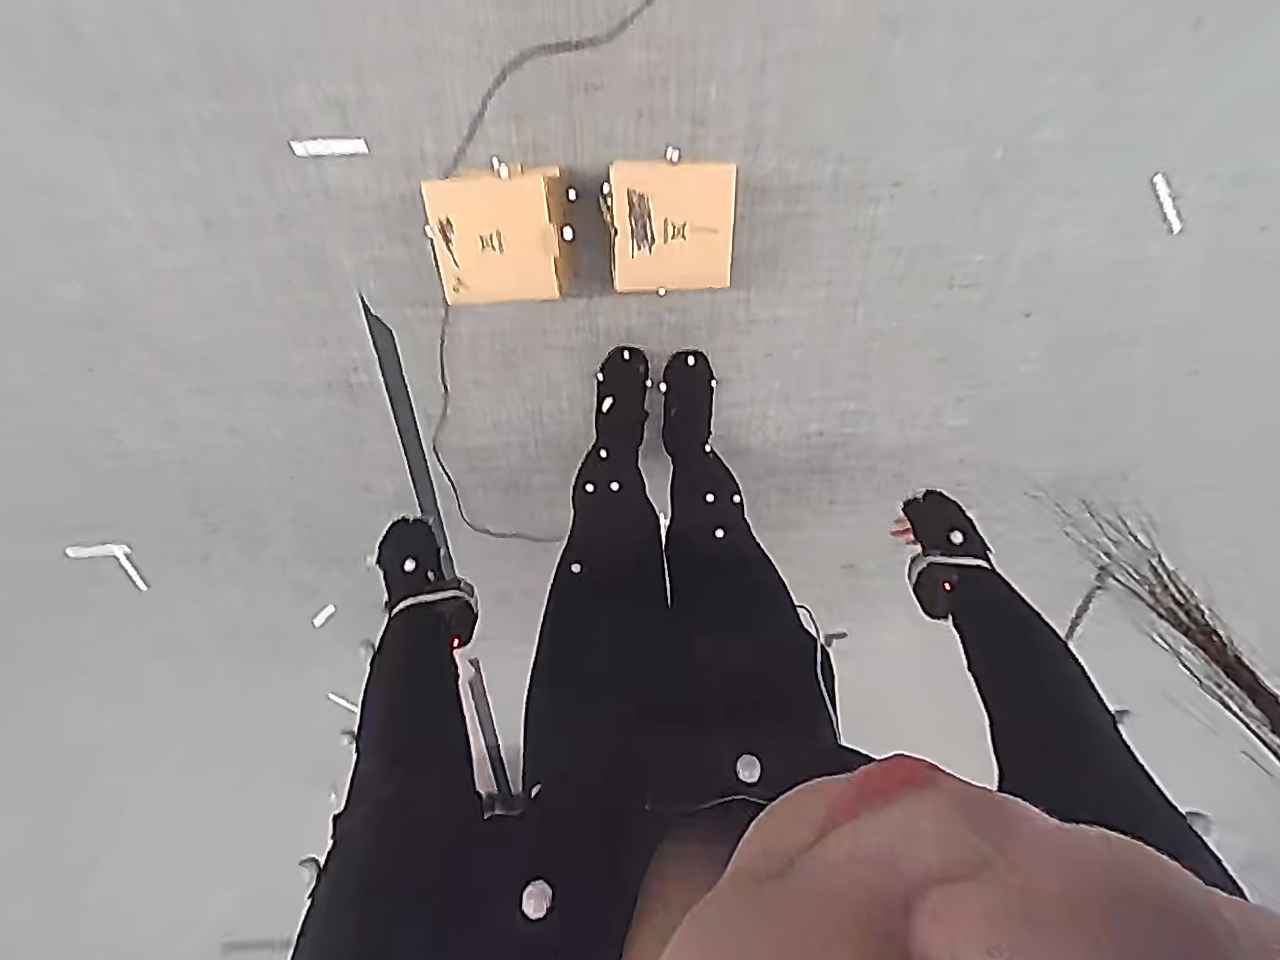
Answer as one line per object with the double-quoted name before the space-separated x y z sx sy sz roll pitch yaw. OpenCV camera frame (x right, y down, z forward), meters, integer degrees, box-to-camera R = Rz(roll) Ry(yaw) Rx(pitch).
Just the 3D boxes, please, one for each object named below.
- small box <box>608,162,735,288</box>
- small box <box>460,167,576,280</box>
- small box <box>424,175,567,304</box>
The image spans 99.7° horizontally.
"small box" 0.042 -0.400 0.847 0.179 0.176 0.168 -2 120 -2
"small box" -0.211 -0.469 0.990 0.168 0.176 0.179 -1 121 1
"small box" -0.211 -0.383 0.851 0.179 0.176 0.168 -3 120 1
